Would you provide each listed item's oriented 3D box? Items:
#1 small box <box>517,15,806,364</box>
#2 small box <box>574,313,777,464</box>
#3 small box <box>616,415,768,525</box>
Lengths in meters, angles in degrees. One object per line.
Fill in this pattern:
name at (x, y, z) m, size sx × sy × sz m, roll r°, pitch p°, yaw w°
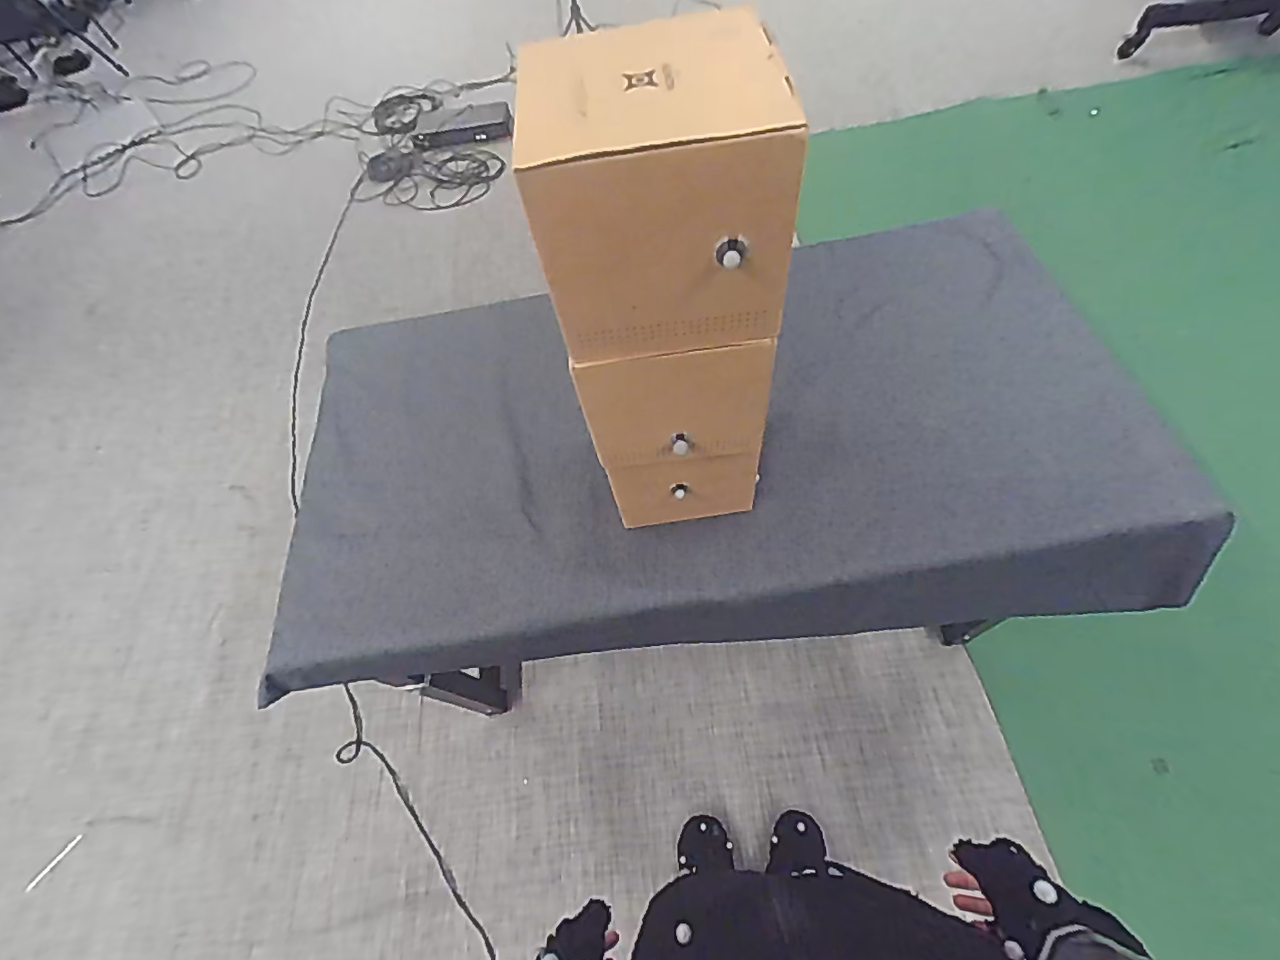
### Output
small box at (0.014, -0.216, 0.427) m, size 0.179 × 0.176 × 0.168 m, roll -9°, pitch 59°, yaw 4°
small box at (0.031, -0.133, 0.566) m, size 0.179 × 0.176 × 0.168 m, roll -8°, pitch 59°, yaw 3°
small box at (0.053, -0.059, 0.710) m, size 0.179 × 0.176 × 0.168 m, roll -11°, pitch 60°, yaw 0°
